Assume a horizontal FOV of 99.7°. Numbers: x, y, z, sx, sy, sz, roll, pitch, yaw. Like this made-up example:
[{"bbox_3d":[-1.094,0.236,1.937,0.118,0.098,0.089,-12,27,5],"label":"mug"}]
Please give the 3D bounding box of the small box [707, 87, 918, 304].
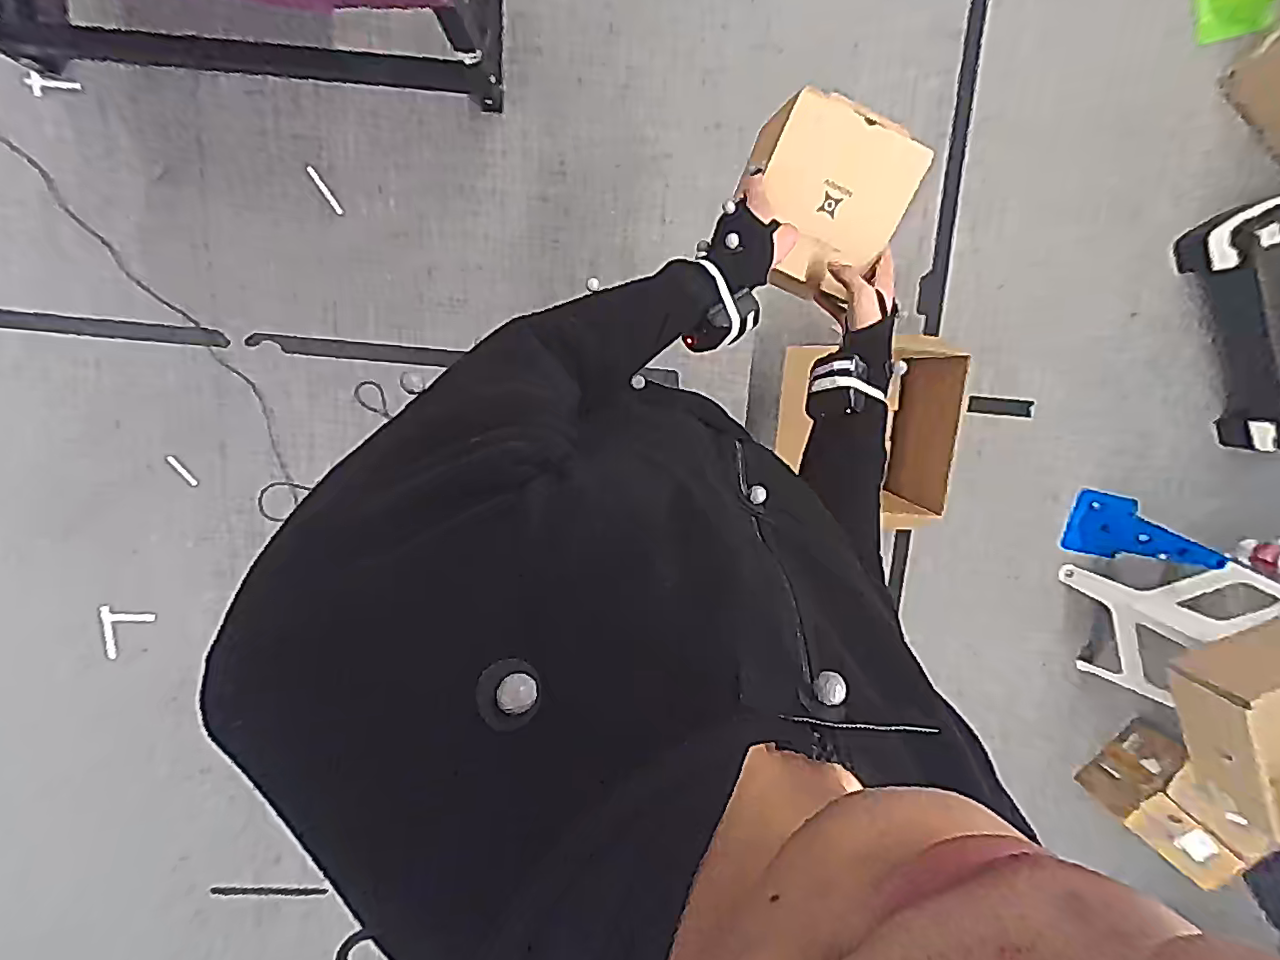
[{"bbox_3d":[0.198,-0.338,0.683,0.168,0.176,0.179,20,106,-10],"label":"small box"}]
